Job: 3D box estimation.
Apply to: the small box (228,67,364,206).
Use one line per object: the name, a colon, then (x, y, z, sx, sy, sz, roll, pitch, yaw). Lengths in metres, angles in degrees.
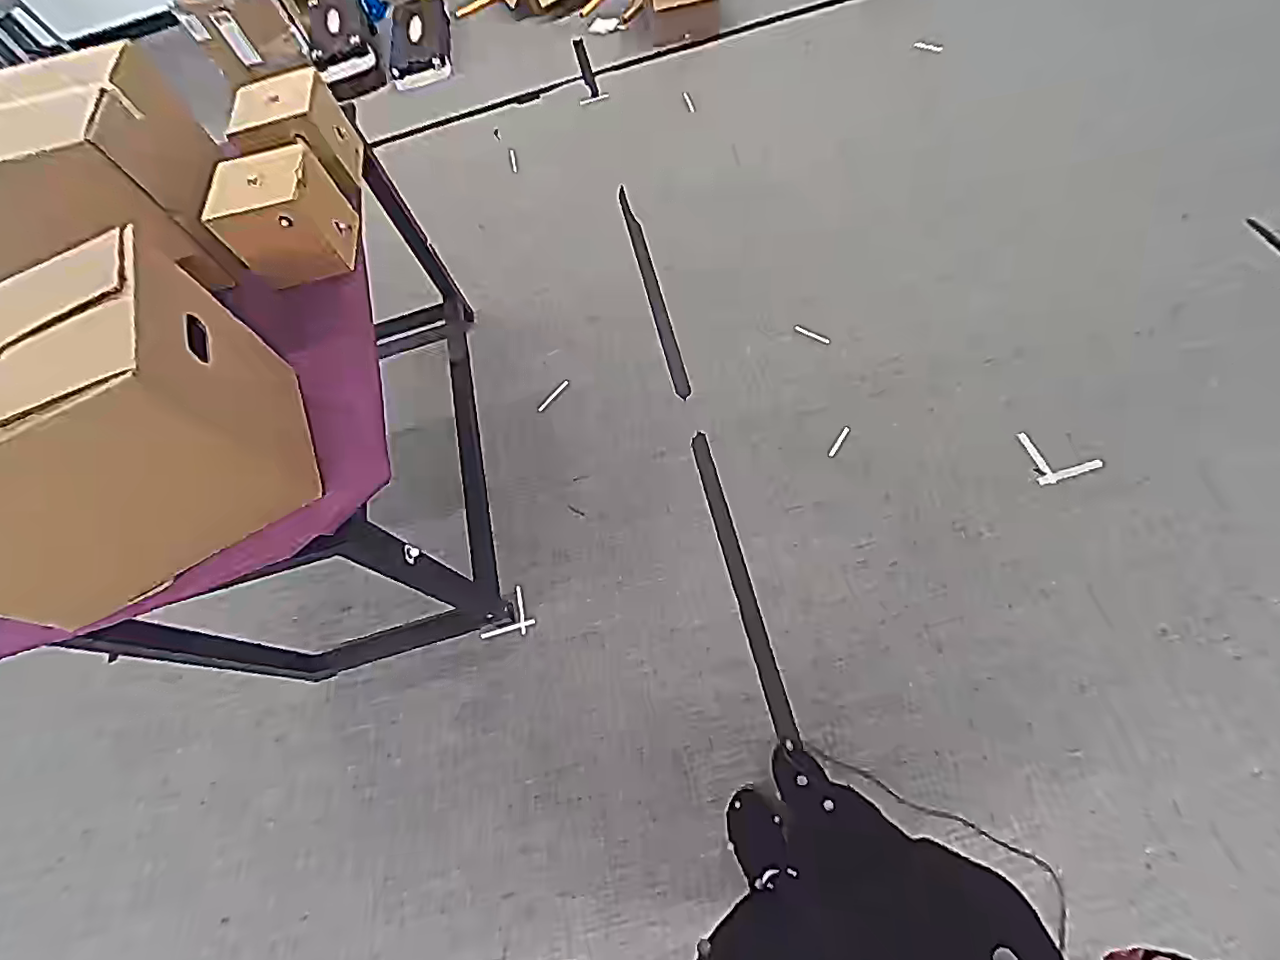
small box: (-0.719, -0.723, 1.152, 0.179, 0.176, 0.168, -14, 63, 4)
